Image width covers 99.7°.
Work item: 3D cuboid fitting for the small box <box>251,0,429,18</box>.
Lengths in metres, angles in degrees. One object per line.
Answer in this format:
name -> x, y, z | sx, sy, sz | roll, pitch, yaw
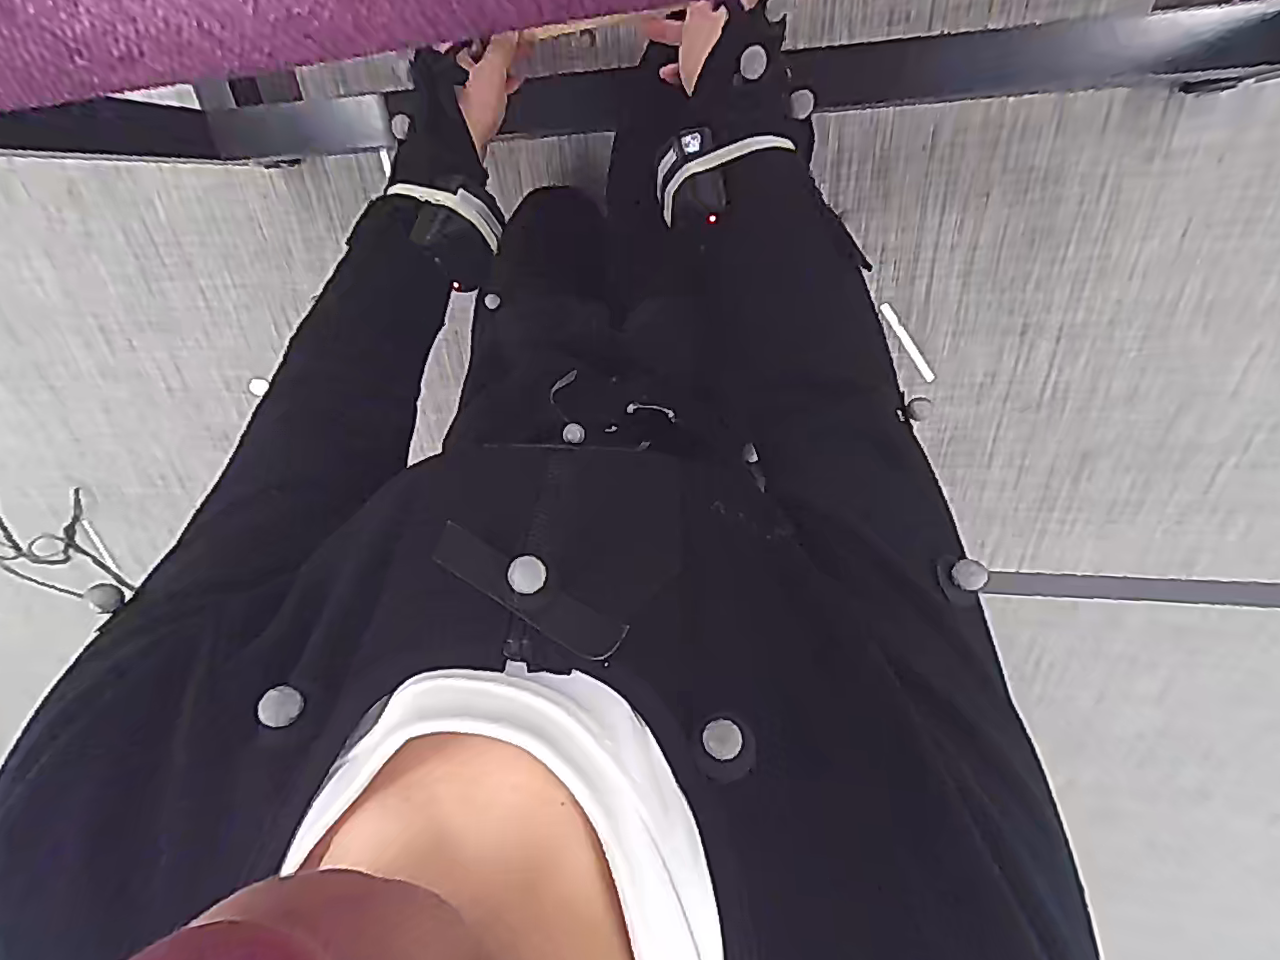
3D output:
small box -> -0.291, -0.523, 0.459 | 0.179, 0.176, 0.168 | 0, 120, 8
